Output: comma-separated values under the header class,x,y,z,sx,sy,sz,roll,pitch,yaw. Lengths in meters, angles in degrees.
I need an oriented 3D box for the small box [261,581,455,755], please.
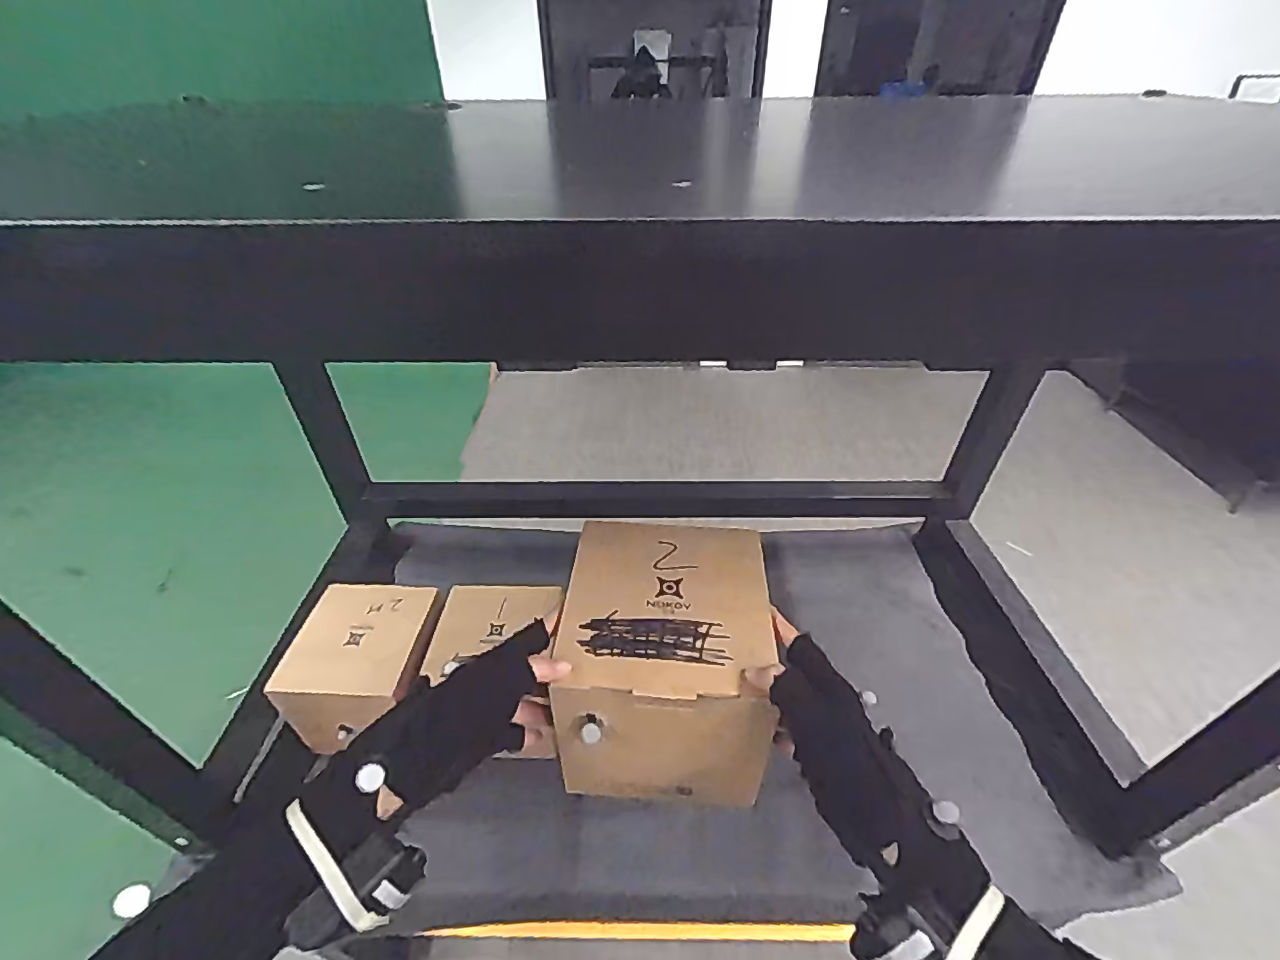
class,x,y,z,sx,sy,sz,roll,pitch,yaw
small box,-0.381,0.269,0.773,0.168,0.176,0.179,3,38,2
